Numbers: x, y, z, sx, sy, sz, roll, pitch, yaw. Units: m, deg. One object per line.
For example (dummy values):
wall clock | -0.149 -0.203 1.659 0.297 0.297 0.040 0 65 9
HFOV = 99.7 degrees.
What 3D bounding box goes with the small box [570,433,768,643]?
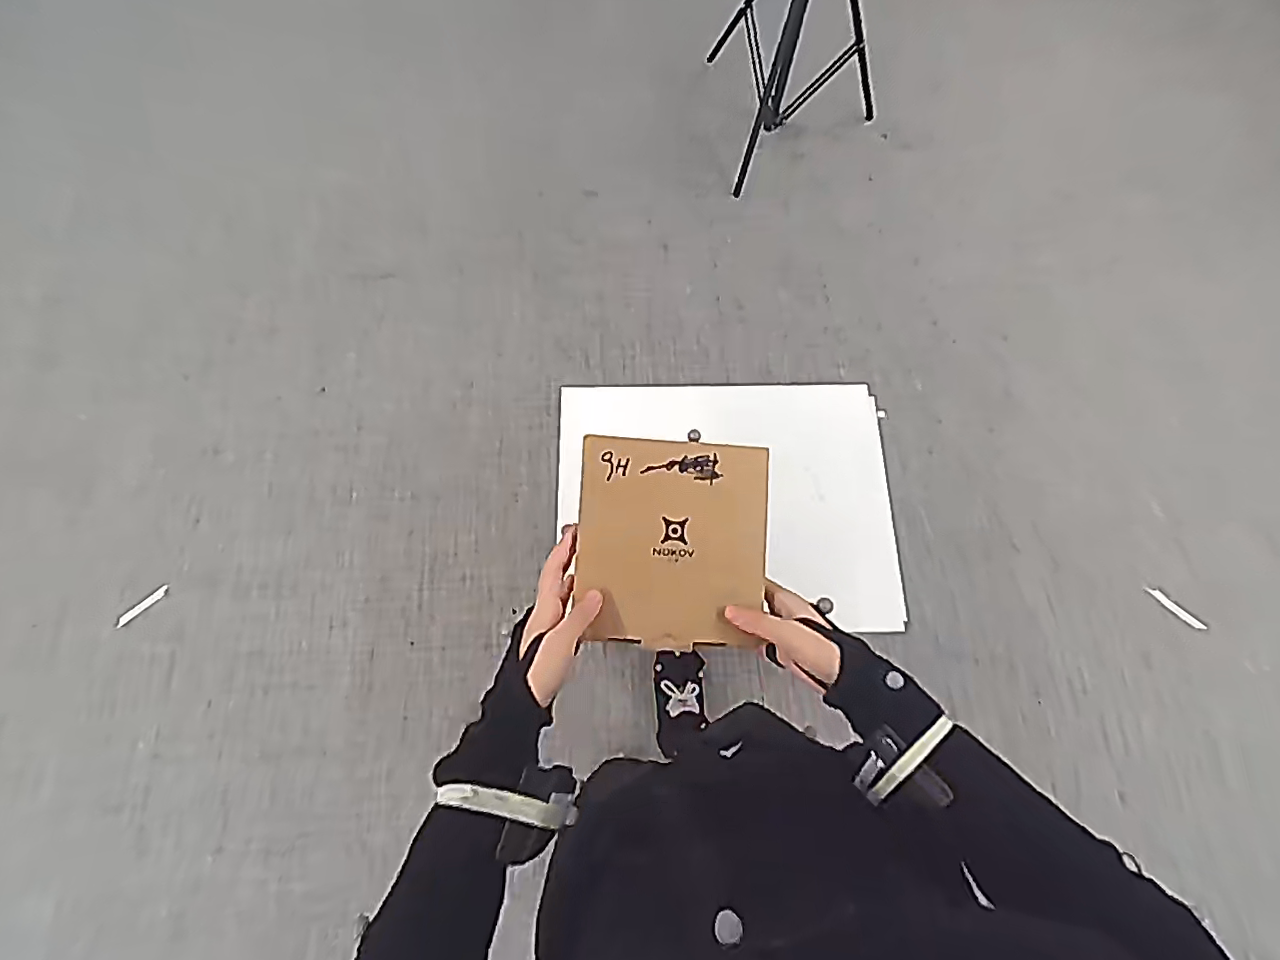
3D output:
small box | 0.020 0.054 0.548 0.168 0.176 0.179 4 86 -6
